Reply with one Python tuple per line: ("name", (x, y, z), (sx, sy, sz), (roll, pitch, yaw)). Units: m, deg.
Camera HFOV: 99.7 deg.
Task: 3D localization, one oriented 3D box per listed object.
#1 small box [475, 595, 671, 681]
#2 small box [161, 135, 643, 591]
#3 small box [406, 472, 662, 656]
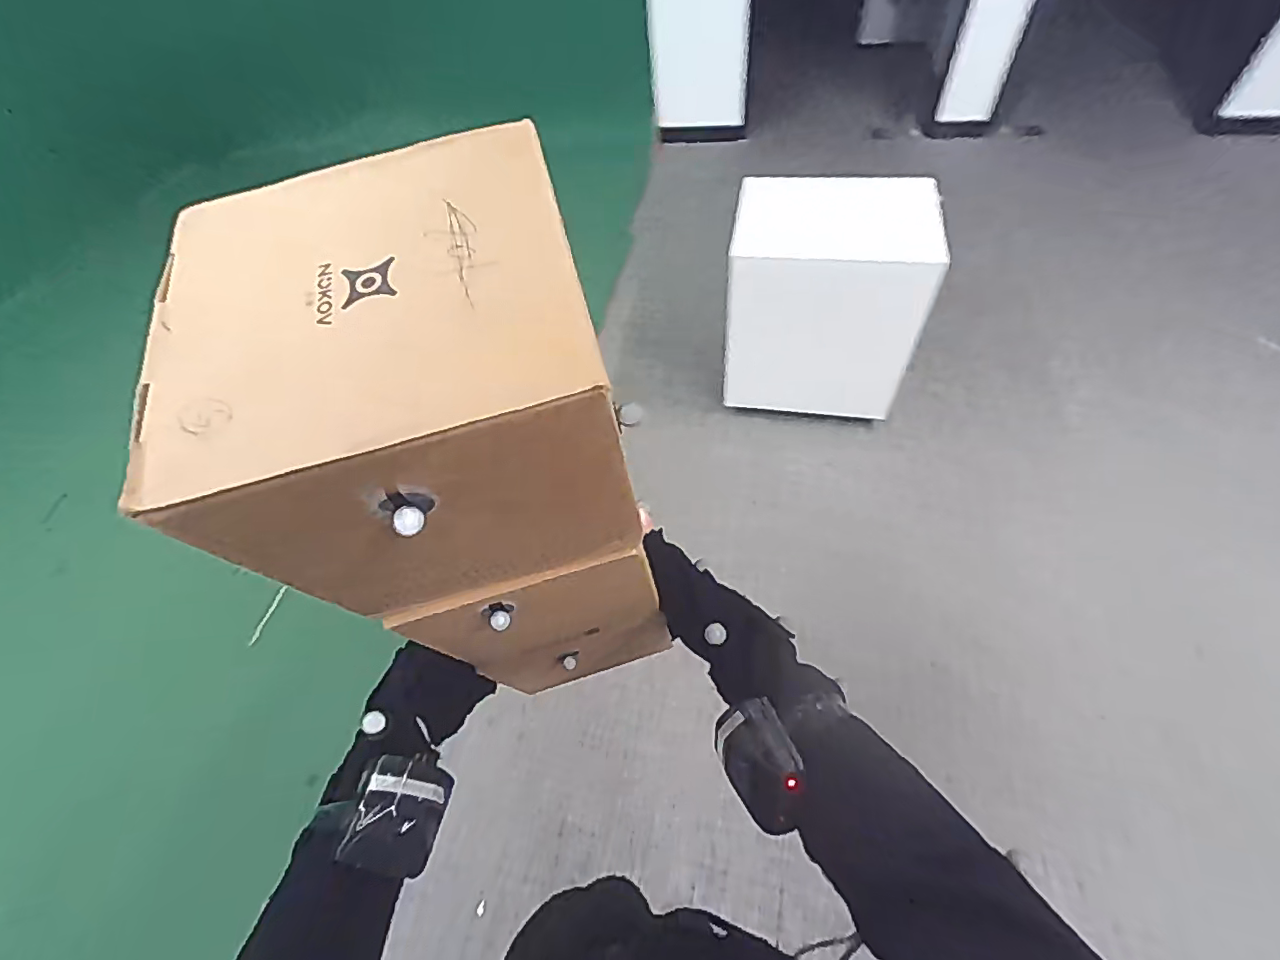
("small box", (-0.073, 0.107, 0.593), (0.179, 0.176, 0.168), (-16, 61, -2))
("small box", (-0.105, -0.050, 0.309), (0.179, 0.176, 0.168), (-15, 64, -2))
("small box", (-0.085, 0.027, 0.454), (0.168, 0.176, 0.179), (-17, 62, -4))
